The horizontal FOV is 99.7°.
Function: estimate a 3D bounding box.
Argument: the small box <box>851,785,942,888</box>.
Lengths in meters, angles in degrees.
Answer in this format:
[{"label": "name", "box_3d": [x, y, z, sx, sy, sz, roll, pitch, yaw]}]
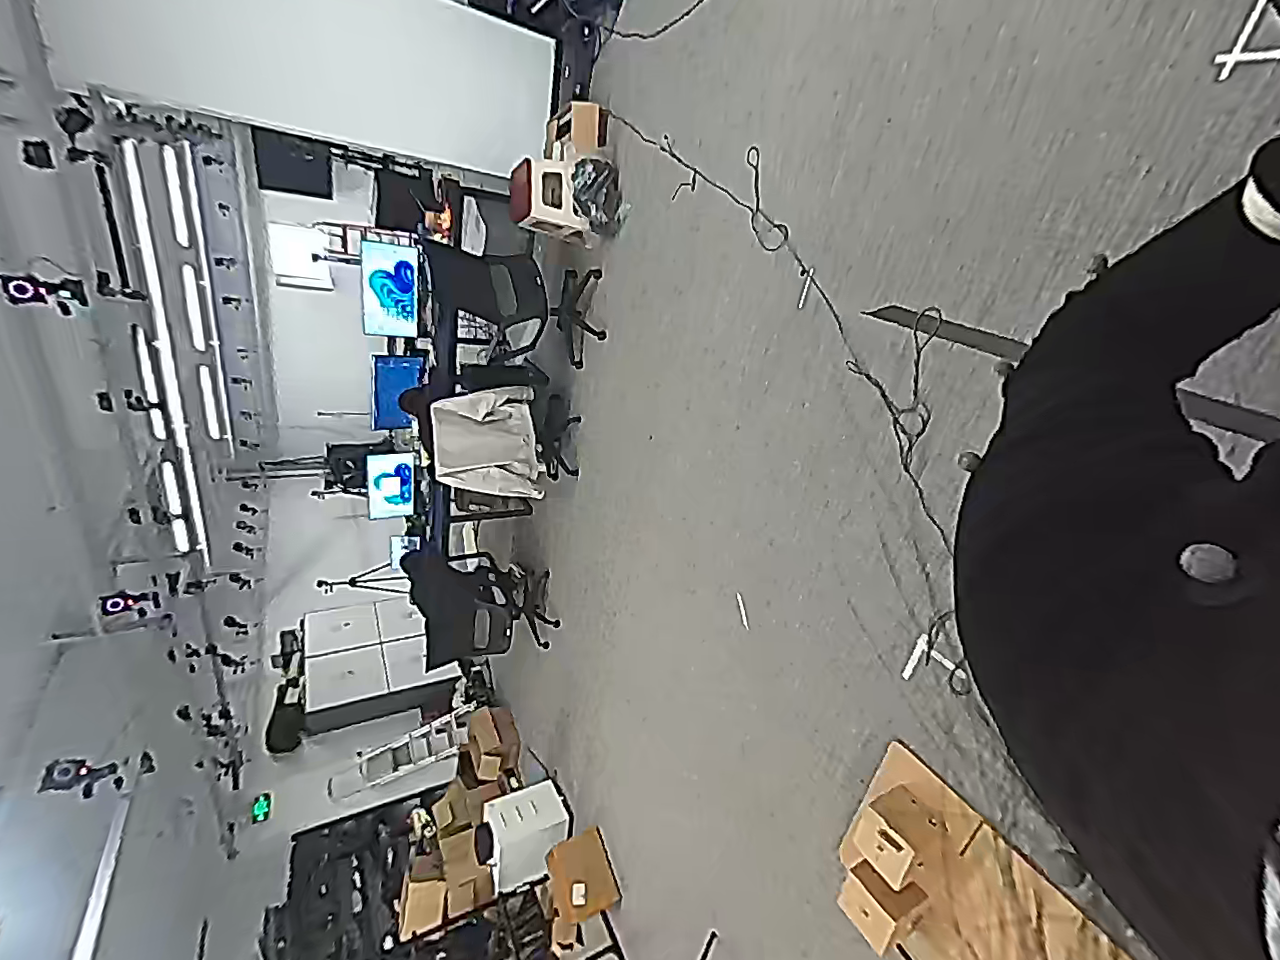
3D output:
[{"label": "small box", "box_3d": [0.782, 1.072, 1.643, 0.168, 0.176, 0.179, 37, 125, 51]}]

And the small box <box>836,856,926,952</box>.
[{"label": "small box", "box_3d": [0.763, 1.321, 1.717, 0.179, 0.176, 0.168, 35, 124, 51]}]
